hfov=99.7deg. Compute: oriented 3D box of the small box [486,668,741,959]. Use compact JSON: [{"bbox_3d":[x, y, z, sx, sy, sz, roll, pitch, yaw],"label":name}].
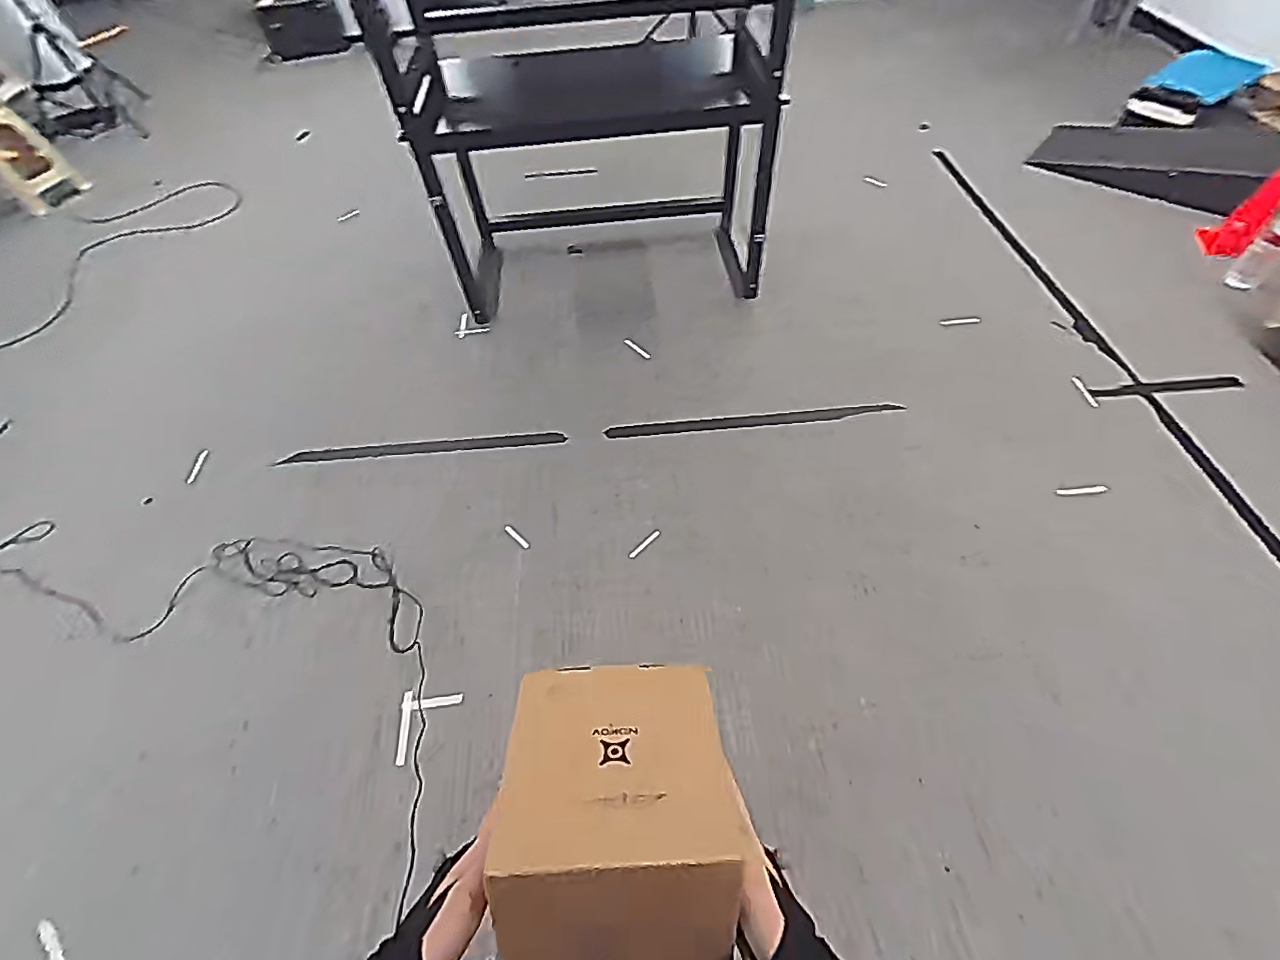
[{"bbox_3d":[-0.020,0.285,0.449,0.168,0.176,0.179,-3,24,-3],"label":"small box"}]
